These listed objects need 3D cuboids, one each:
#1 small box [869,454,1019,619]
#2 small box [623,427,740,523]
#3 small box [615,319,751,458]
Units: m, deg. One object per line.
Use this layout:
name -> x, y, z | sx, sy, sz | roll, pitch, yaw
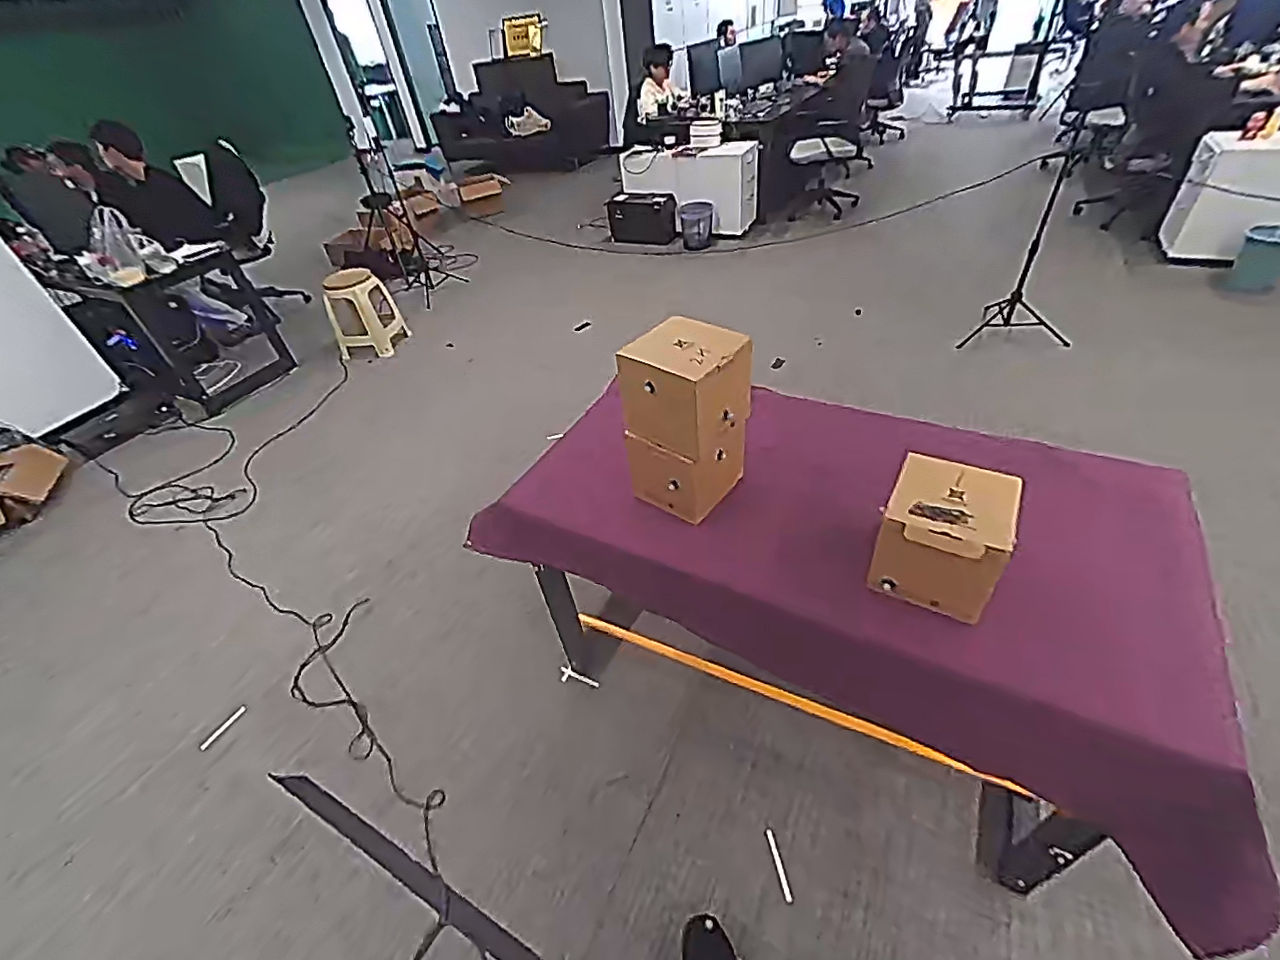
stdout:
small box -> 0.479, 0.090, 0.867 | 0.168, 0.176, 0.179 | 18, 46, 27
small box -> 0.092, -0.044, 1.086 | 0.168, 0.176, 0.179 | 26, 51, 32
small box -> 0.080, -0.165, 0.976 | 0.179, 0.176, 0.168 | 27, 53, 32
